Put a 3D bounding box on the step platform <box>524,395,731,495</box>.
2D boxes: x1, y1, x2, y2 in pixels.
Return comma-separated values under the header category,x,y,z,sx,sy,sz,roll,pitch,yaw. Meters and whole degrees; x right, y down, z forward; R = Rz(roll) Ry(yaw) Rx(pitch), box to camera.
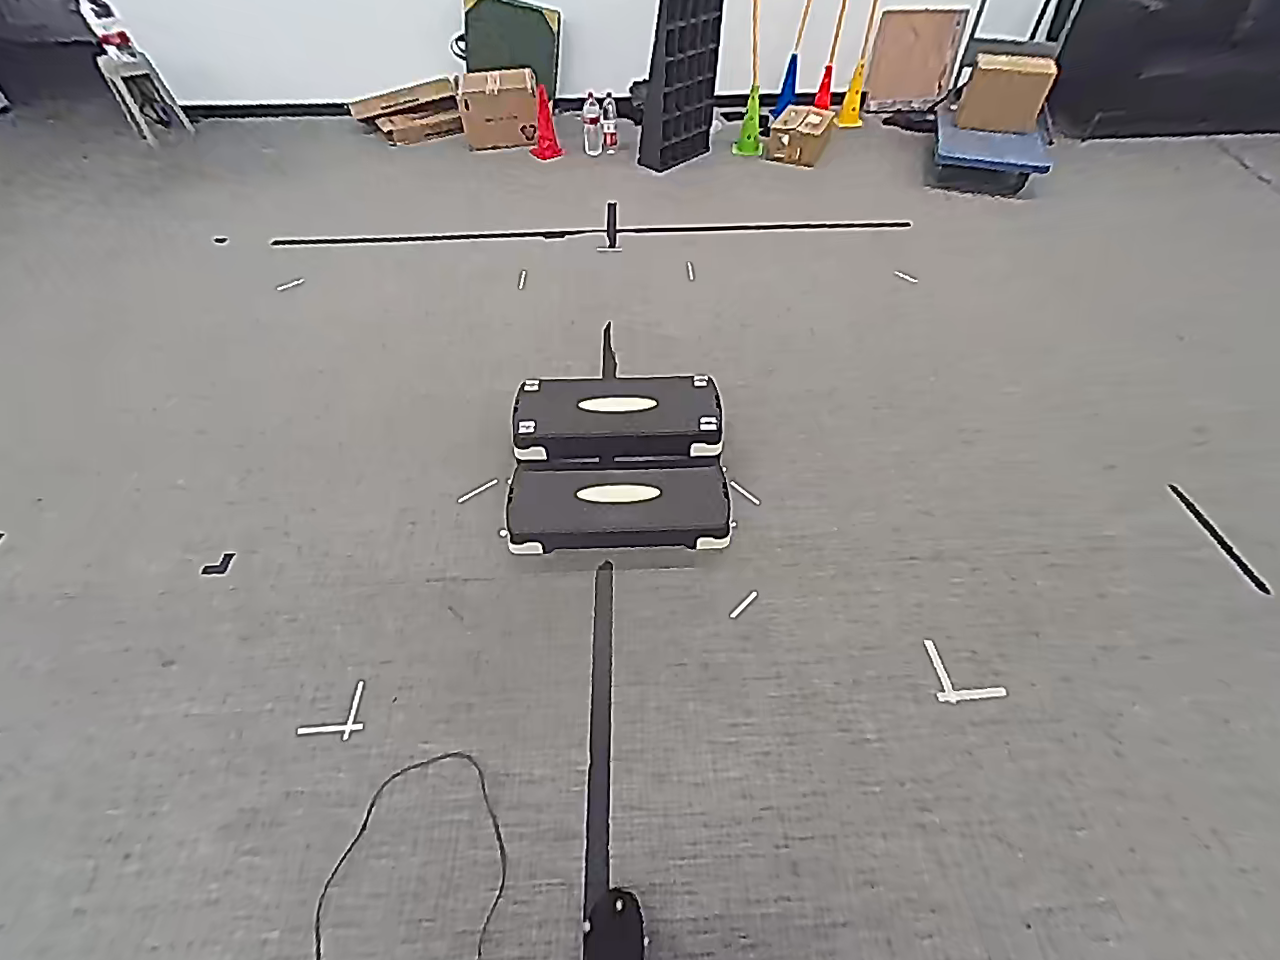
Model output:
category,x,y,z,sx,sy,sz,roll,pitch,yaw
step platform,-0.040,-0.124,1.809,0.684,0.204,0.286,2,49,2
